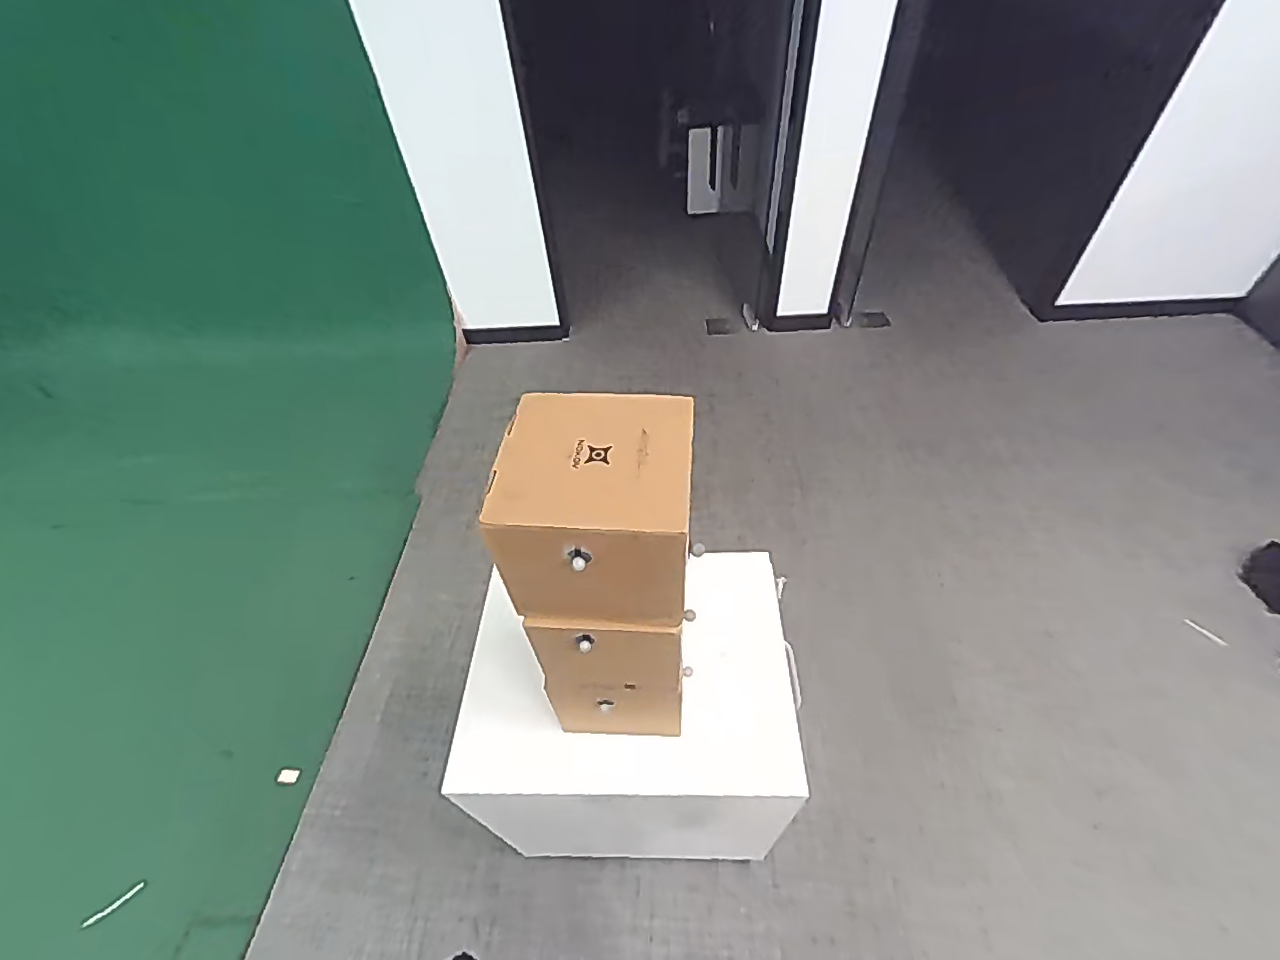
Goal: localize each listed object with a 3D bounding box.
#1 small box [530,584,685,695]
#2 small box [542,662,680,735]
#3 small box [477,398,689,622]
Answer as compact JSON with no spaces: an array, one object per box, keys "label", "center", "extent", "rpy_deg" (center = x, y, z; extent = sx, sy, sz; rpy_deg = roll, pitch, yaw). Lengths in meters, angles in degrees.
[{"label":"small box","center":[-0.031,0.148,0.676],"extent":[0.168,0.176,0.179],"rpy_deg":[0,48,2]},{"label":"small box","center":[-0.030,0.260,0.792],"extent":[0.179,0.176,0.168],"rpy_deg":[1,47,4]},{"label":"small box","center":[-0.041,0.034,0.558],"extent":[0.179,0.176,0.168],"rpy_deg":[2,50,5]}]
